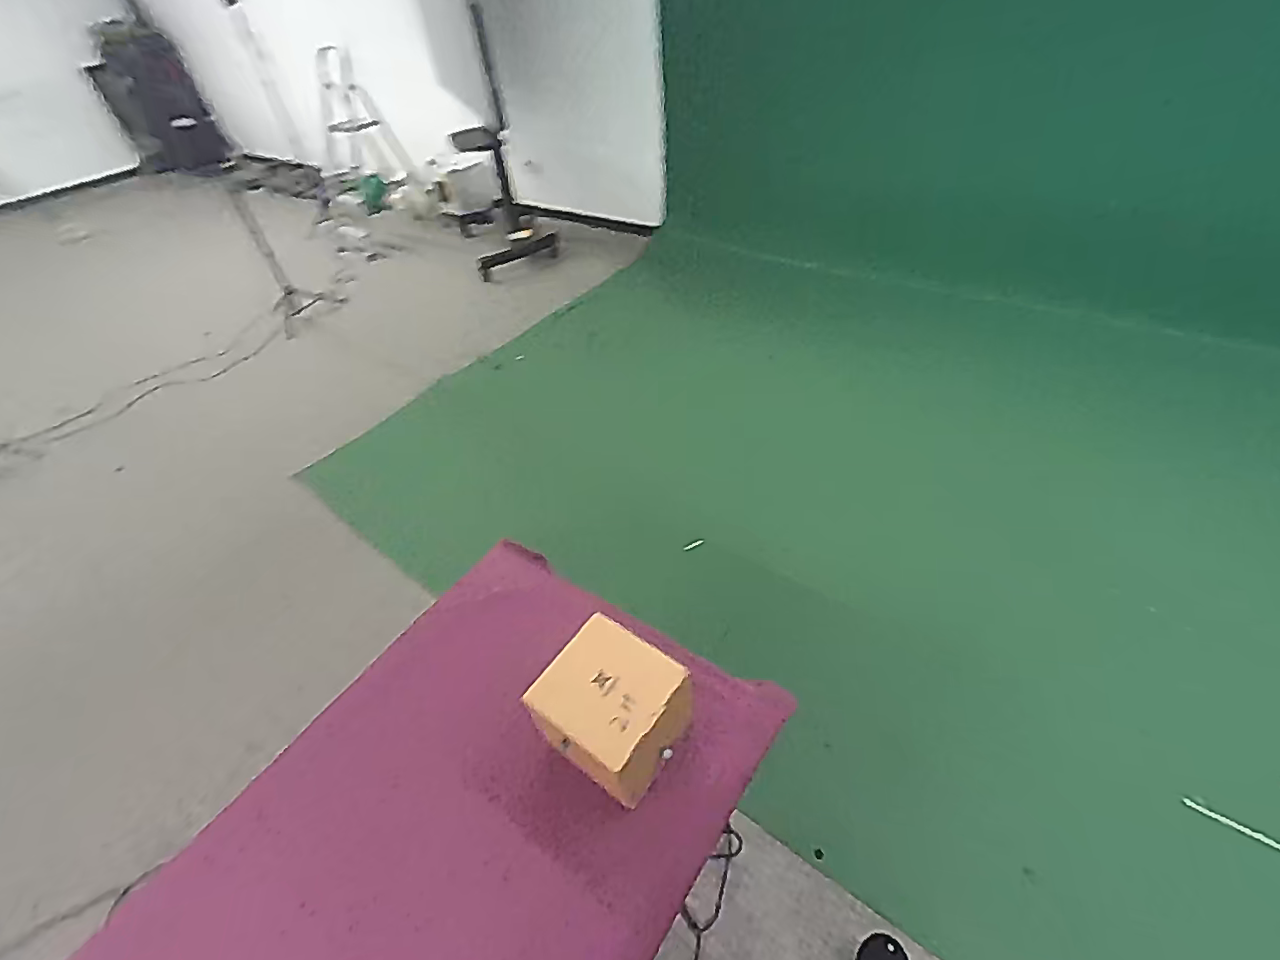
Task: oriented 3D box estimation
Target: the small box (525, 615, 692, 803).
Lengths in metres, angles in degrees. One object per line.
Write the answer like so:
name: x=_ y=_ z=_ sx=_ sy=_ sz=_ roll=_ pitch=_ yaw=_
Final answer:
small box: x=-0.039 y=0.344 z=0.812 sx=0.179 sy=0.176 sz=0.168 roll=25 pitch=54 yaw=29
